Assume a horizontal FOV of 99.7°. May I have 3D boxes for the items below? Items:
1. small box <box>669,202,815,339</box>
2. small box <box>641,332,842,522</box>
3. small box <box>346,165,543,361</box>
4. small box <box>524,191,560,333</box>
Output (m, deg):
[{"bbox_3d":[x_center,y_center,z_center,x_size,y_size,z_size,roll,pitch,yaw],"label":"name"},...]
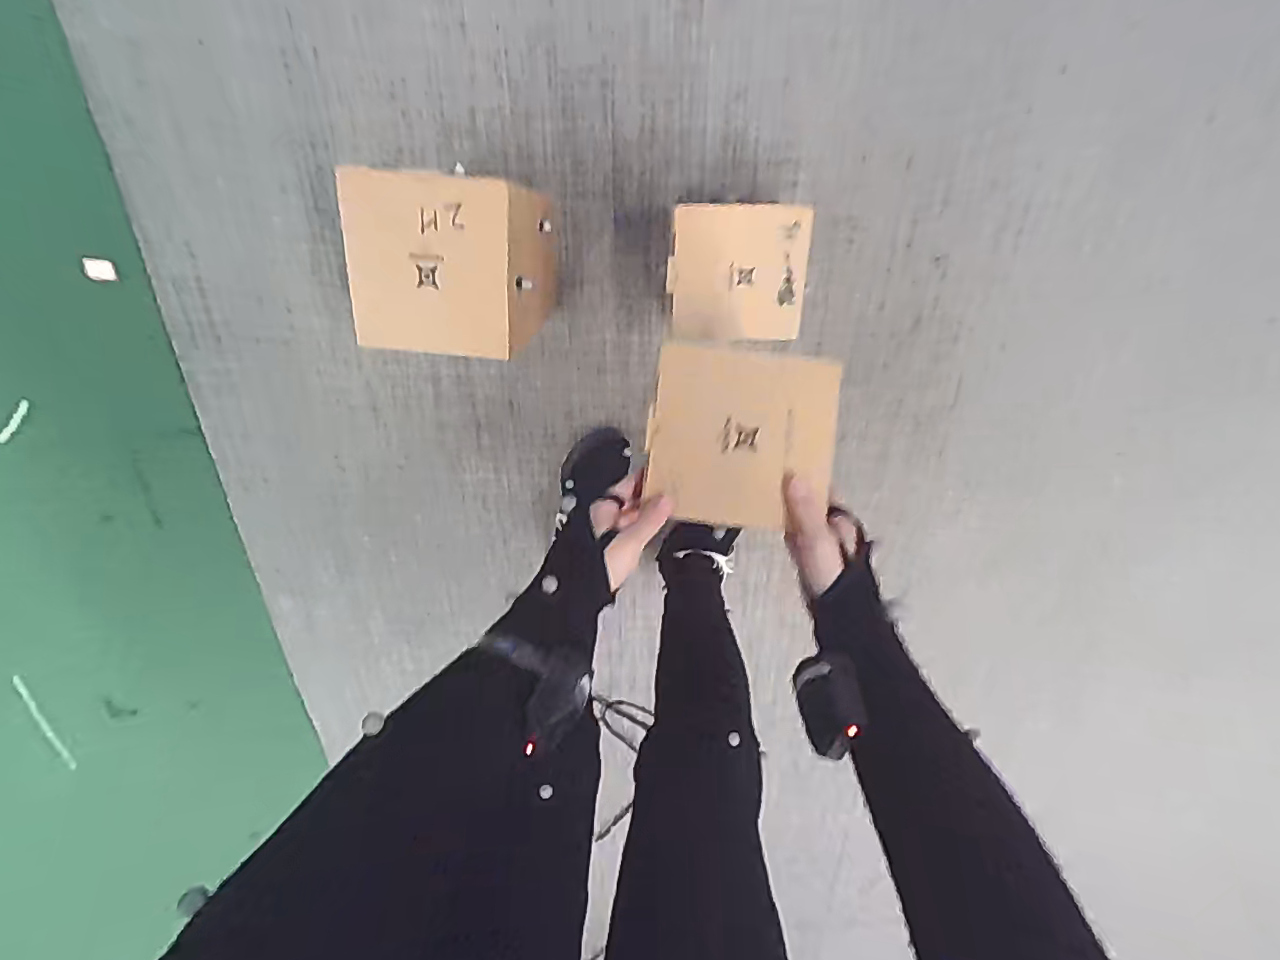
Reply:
[{"bbox_3d":[0.133,-0.302,0.777,0.179,0.176,0.168,1,115,2],"label":"small box"},{"bbox_3d":[0.096,-0.048,0.590,0.179,0.176,0.168,7,89,-1],"label":"small box"},{"bbox_3d":[-0.210,-0.250,0.631,0.168,0.176,0.179,5,114,-2],"label":"small box"},{"bbox_3d":[-0.210,-0.320,0.780,0.168,0.176,0.179,4,114,0],"label":"small box"}]
